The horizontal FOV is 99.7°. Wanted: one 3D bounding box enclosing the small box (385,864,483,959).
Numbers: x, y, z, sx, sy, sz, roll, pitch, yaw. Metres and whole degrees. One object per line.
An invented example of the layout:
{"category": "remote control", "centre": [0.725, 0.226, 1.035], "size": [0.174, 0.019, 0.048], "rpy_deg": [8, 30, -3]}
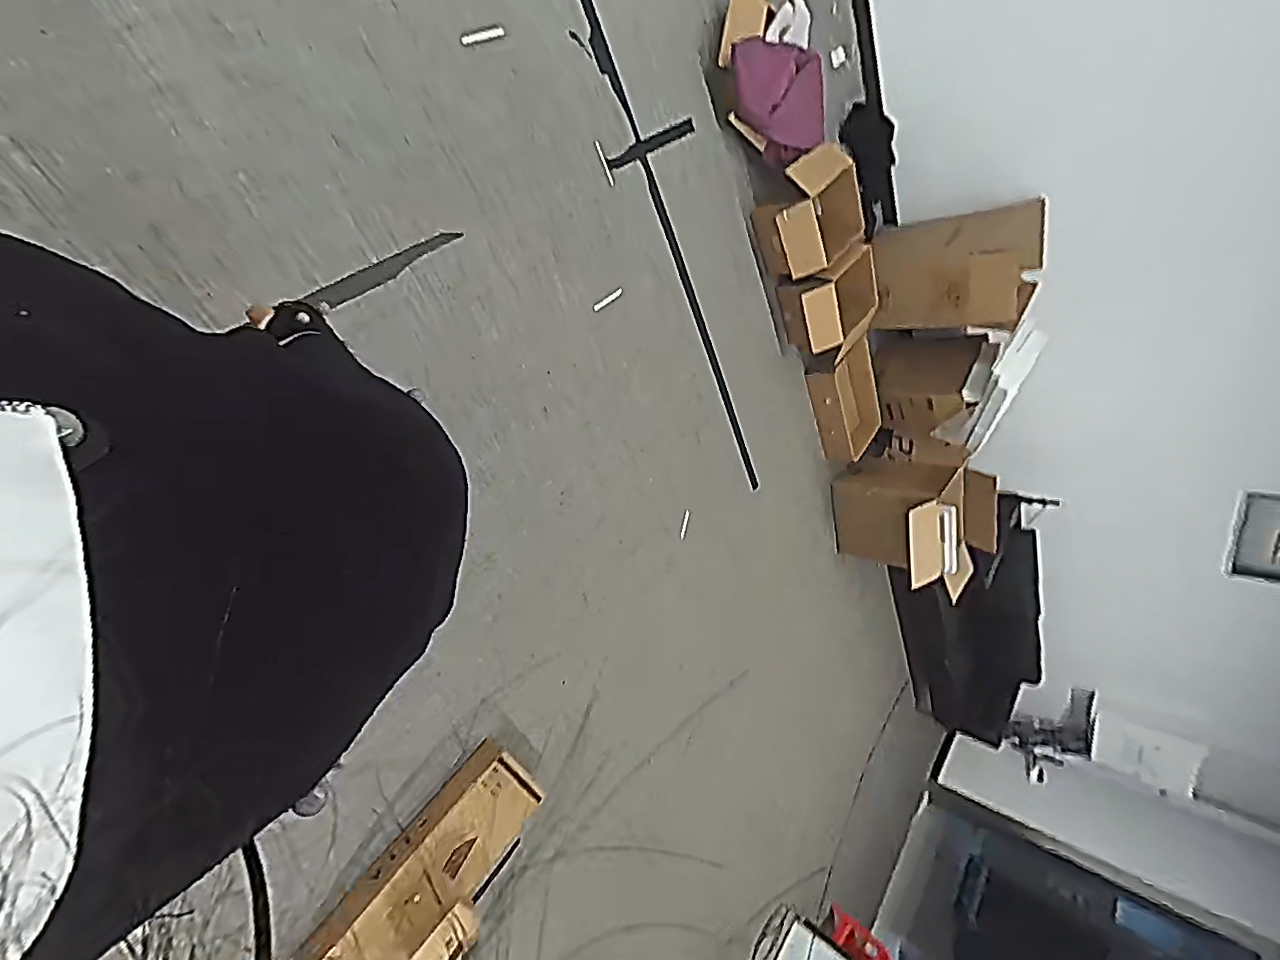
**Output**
{"category": "small box", "centre": [-0.594, 1.263, 1.558], "size": [0.168, 0.176, 0.179], "rpy_deg": [-42, 124, -32]}
